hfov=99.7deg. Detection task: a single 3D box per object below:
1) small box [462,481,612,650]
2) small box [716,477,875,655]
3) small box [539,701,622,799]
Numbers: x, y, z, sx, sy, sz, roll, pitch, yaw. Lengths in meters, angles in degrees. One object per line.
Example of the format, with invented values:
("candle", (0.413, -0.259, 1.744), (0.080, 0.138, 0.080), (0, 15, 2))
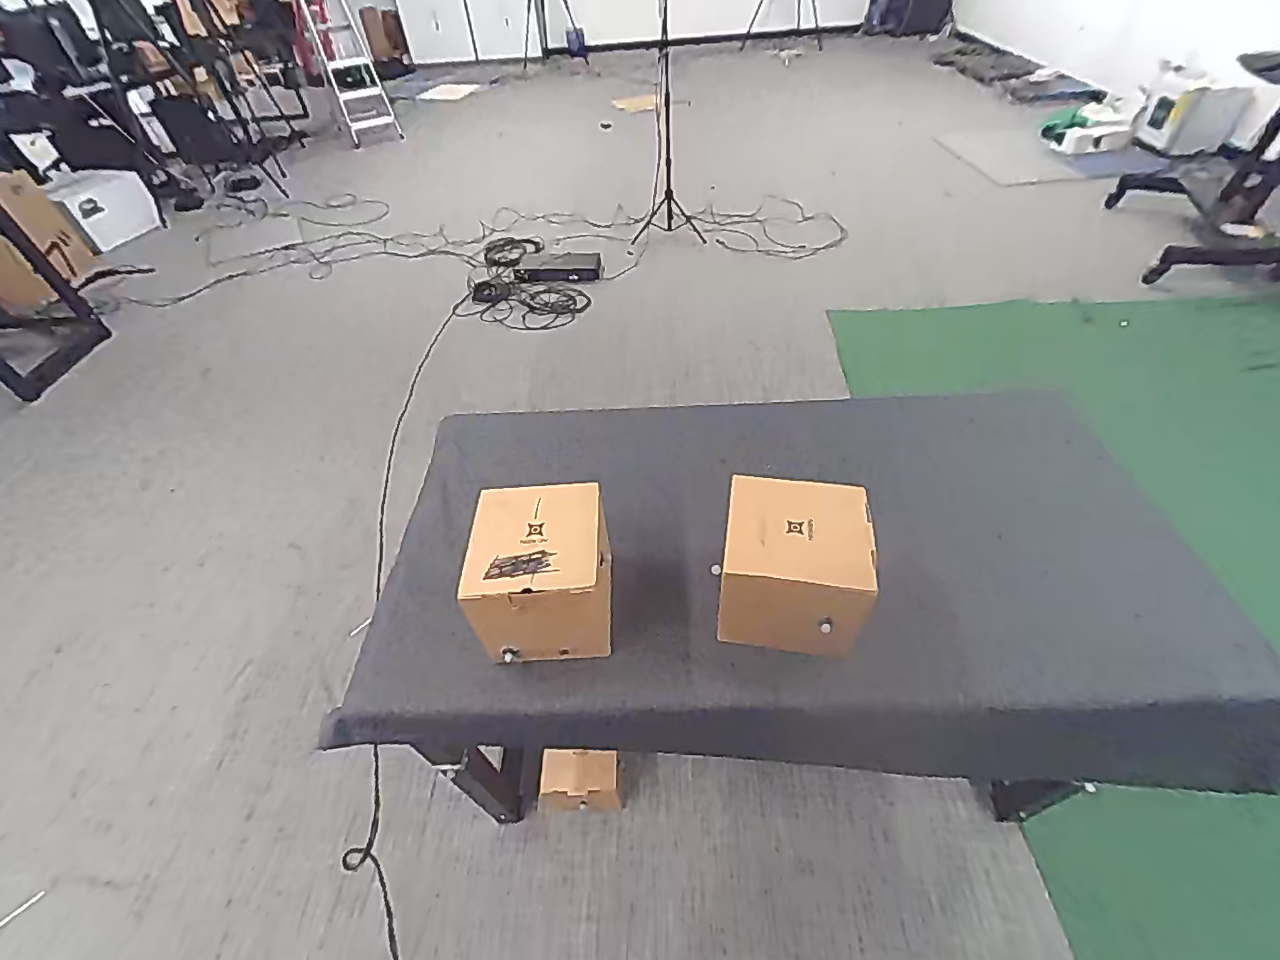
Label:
("small box", (-0.128, 0.124, 0.751), (0.168, 0.176, 0.179), (-2, 45, 1))
("small box", (0.202, 0.120, 0.736), (0.179, 0.176, 0.168), (6, 47, 10))
("small box", (-0.131, 0.638, 1.272), (0.168, 0.176, 0.179), (-2, 48, 3))
